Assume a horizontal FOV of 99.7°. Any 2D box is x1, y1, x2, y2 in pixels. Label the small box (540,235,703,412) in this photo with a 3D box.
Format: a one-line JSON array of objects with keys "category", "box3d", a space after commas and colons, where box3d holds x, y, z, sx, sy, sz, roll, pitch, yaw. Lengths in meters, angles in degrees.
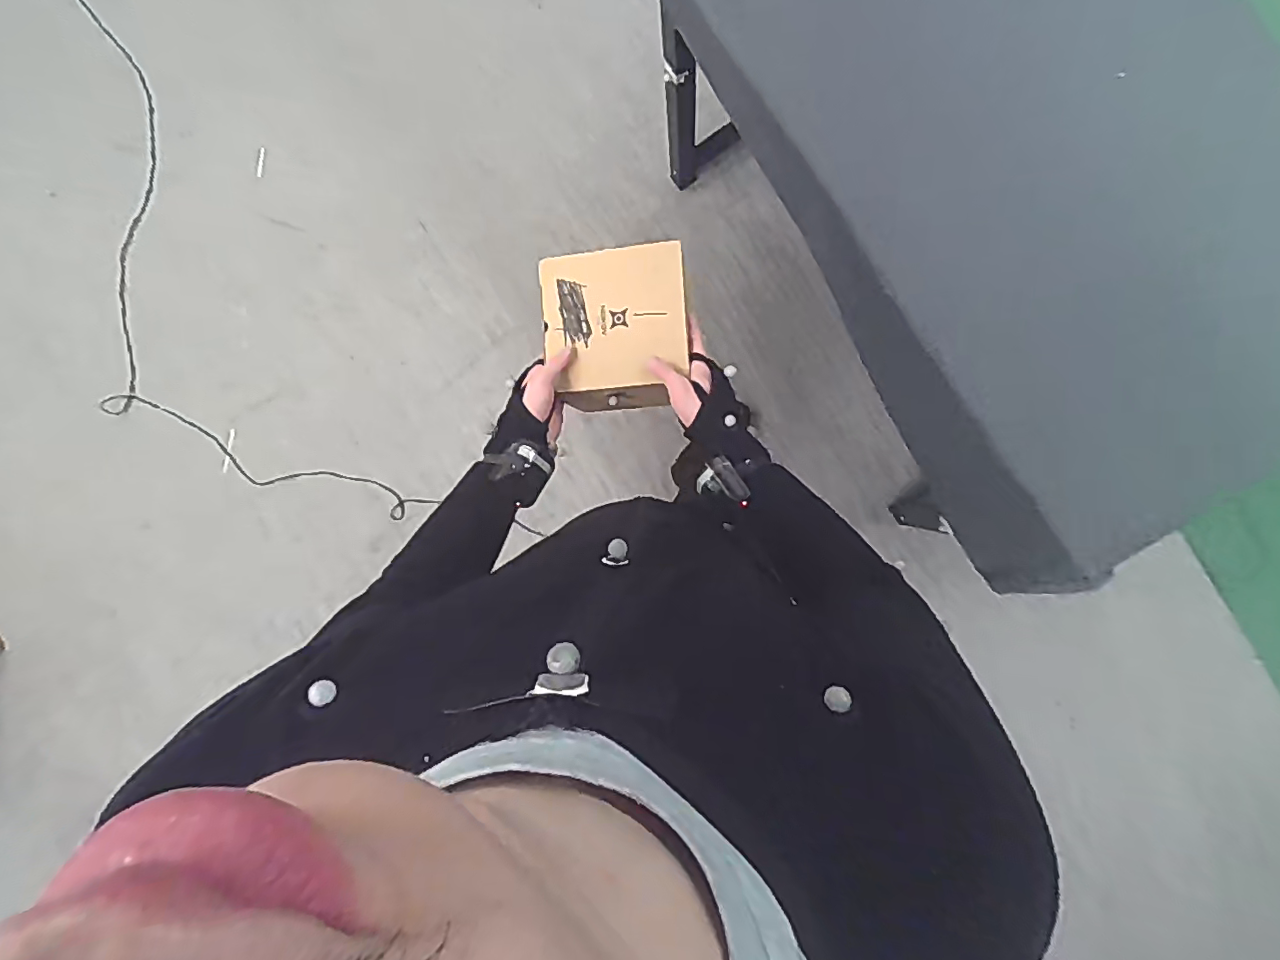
[{"category": "small box", "box3d": [-0.014, -0.184, 0.691, 0.179, 0.176, 0.168, -5, 89, 7]}]
